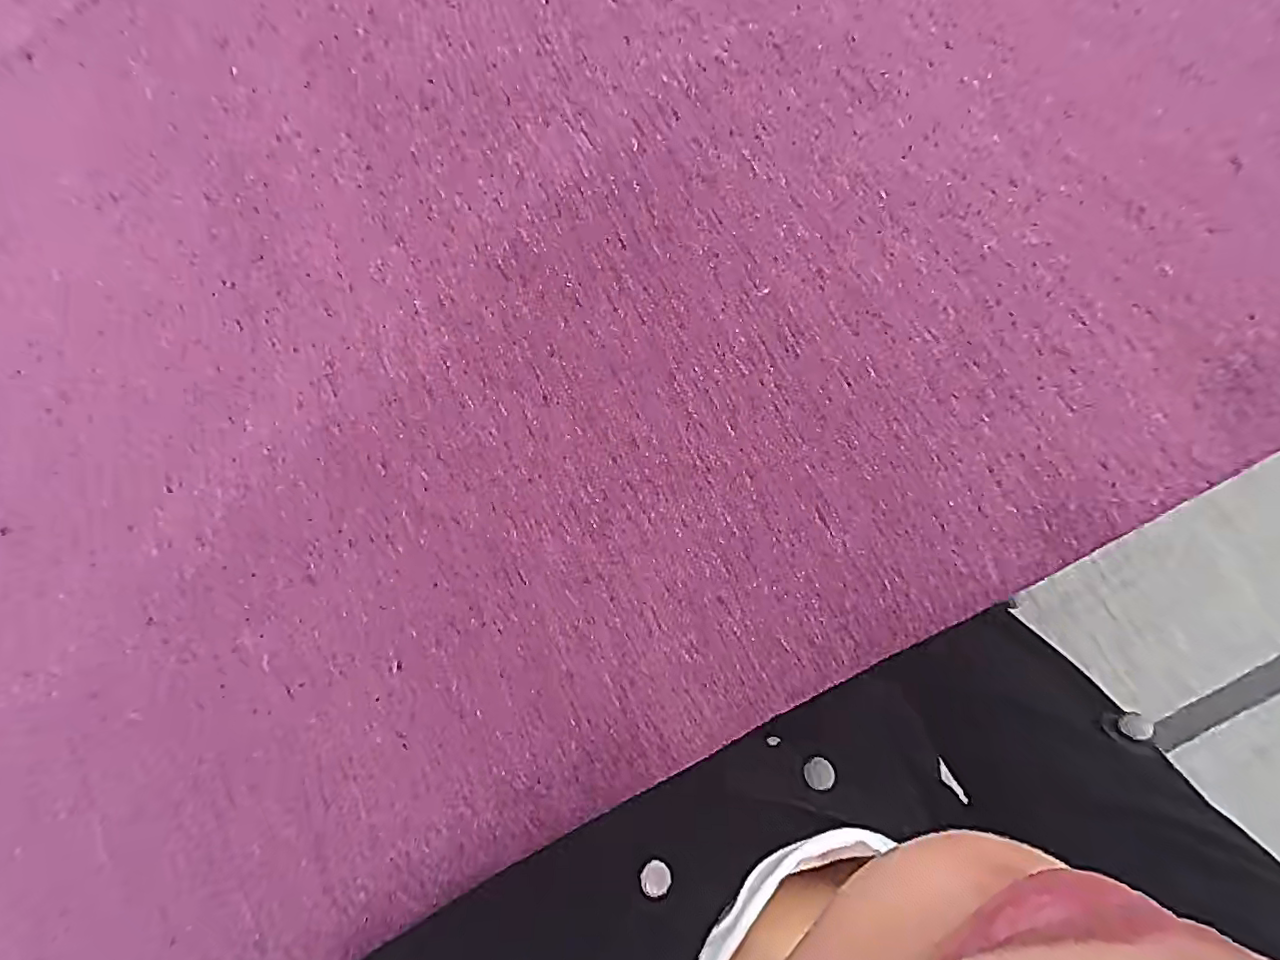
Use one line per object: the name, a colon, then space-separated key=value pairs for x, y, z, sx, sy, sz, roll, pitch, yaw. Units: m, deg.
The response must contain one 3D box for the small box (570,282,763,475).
small box: x=0.039 y=-0.119 z=0.712 sx=0.179 sy=0.176 sz=0.168 roll=-35 pitch=88 yaw=6
